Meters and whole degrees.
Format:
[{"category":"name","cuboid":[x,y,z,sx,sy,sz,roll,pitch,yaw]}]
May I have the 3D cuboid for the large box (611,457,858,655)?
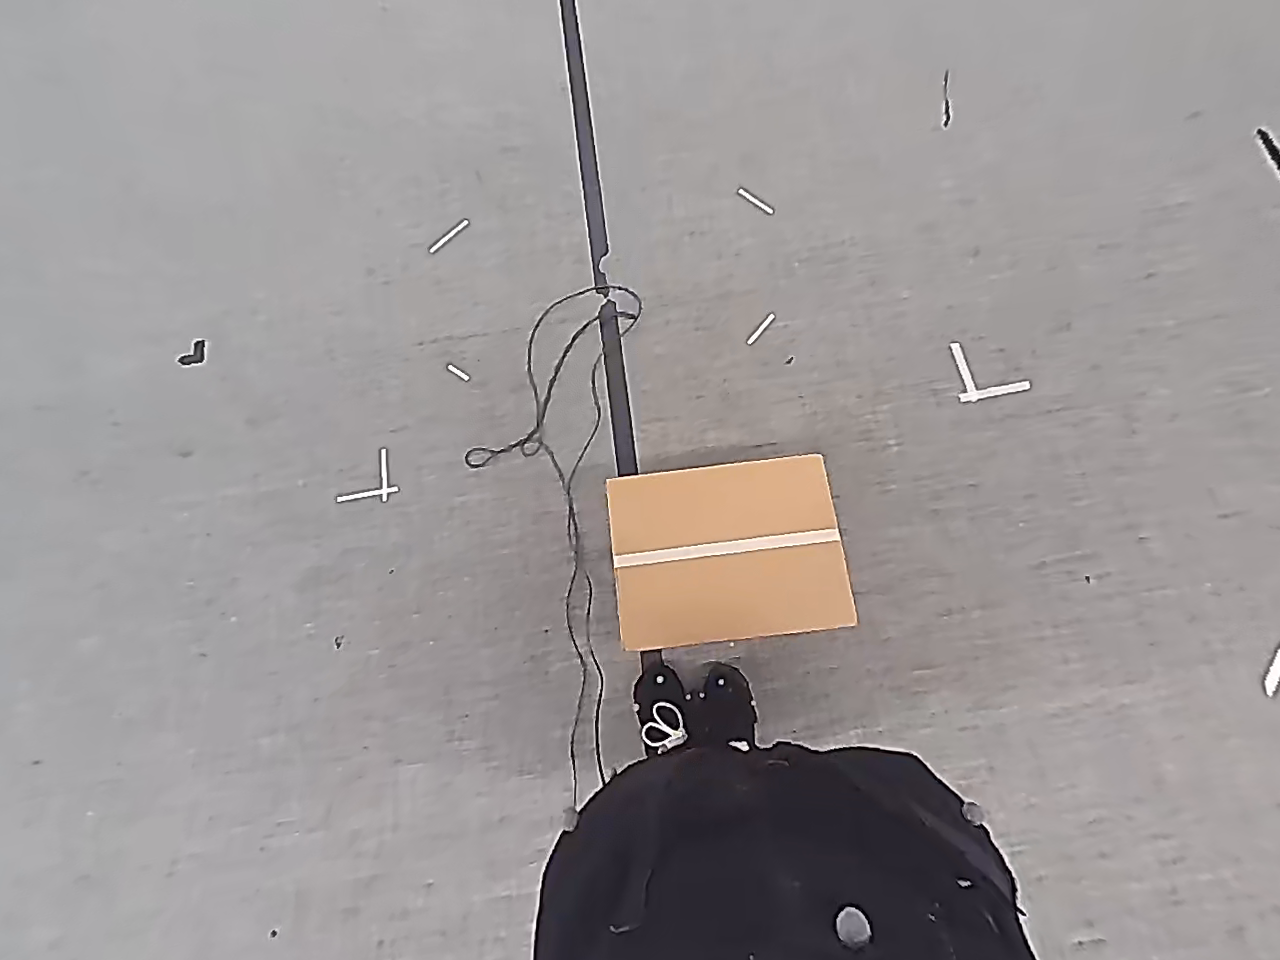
[{"category":"large box","cuboid":[0.167,0.169,1.109,0.408,0.320,0.320,-7,75,1]}]
